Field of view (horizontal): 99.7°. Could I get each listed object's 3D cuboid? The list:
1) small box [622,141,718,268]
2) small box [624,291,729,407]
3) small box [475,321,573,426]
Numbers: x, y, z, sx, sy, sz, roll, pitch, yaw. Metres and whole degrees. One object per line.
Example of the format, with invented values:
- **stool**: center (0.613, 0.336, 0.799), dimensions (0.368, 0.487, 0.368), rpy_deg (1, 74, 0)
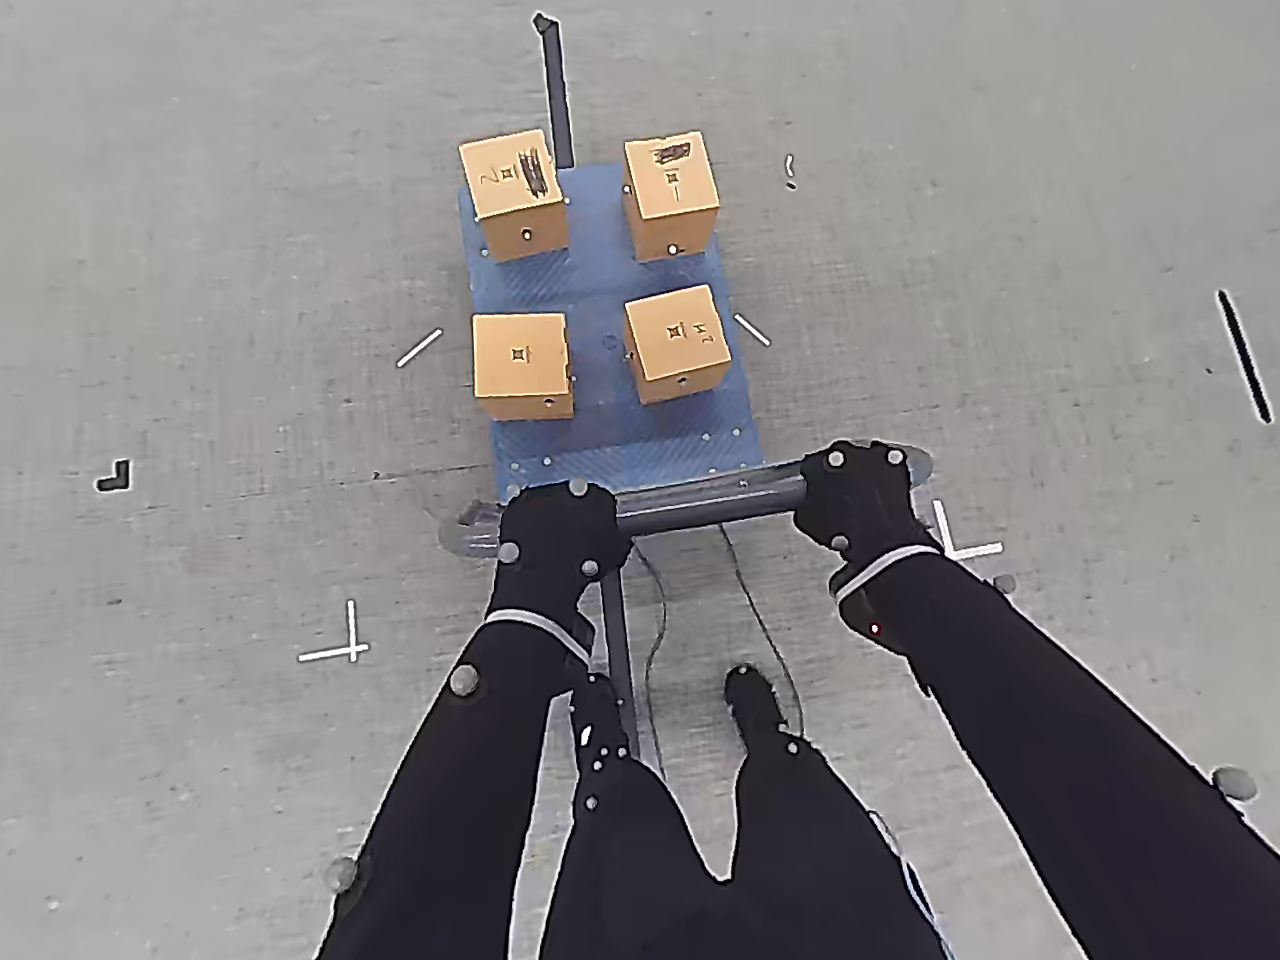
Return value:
- **small box**: center (0.057, -0.599, 1.190), dimensions (0.168, 0.176, 0.179), rpy_deg (-13, 83, -5)
- **small box**: center (0.069, -0.266, 1.139), dimensions (0.179, 0.176, 0.168), rpy_deg (-15, 83, -6)
- **small box**: center (-0.232, -0.212, 1.111), dimensions (0.179, 0.176, 0.168), rpy_deg (-4, 81, -6)
